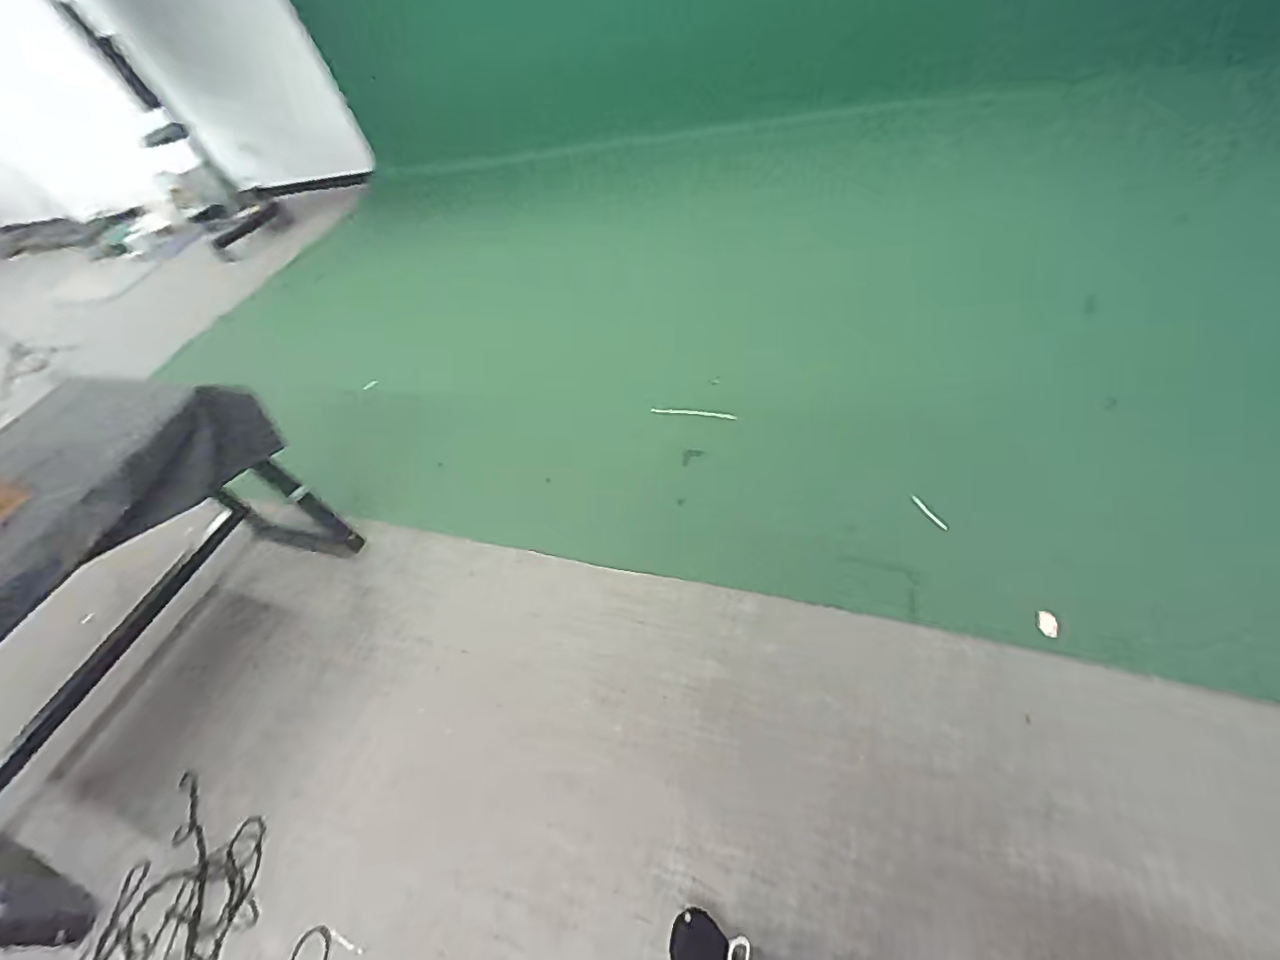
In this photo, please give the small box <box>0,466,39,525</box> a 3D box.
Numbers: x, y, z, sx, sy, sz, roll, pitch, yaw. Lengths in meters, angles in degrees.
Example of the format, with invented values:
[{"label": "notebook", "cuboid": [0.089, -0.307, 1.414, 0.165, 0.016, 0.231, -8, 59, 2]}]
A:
[{"label": "small box", "cuboid": [-1.498, 0.026, 1.180, 0.179, 0.176, 0.168, 9, 54, 25]}]
